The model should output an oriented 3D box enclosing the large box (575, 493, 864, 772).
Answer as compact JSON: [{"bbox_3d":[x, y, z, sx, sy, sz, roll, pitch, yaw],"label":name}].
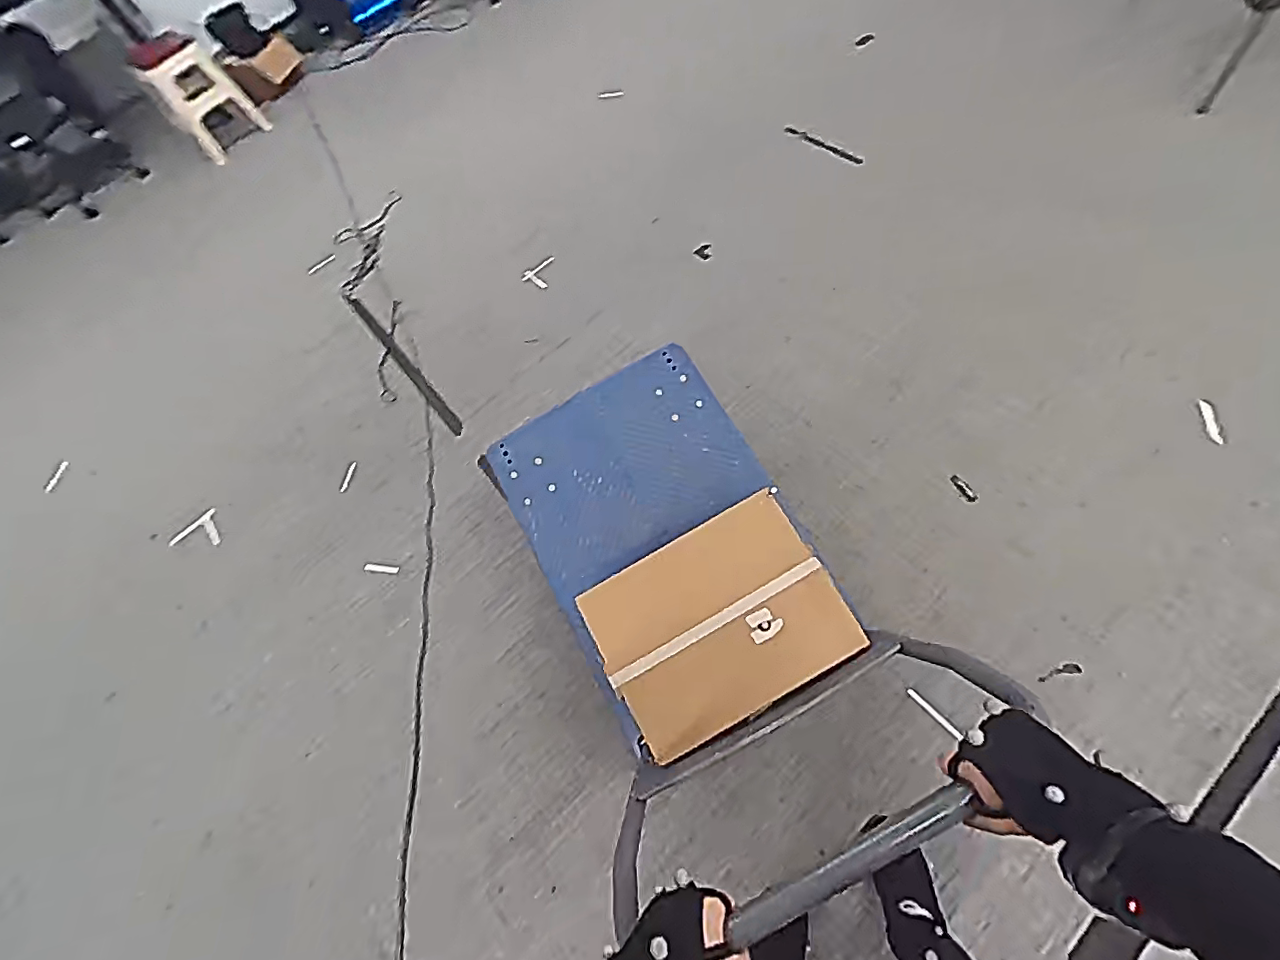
[{"bbox_3d":[0.142,0.288,1.061,0.408,0.320,0.320,-30,75,-2],"label":"large box"}]
